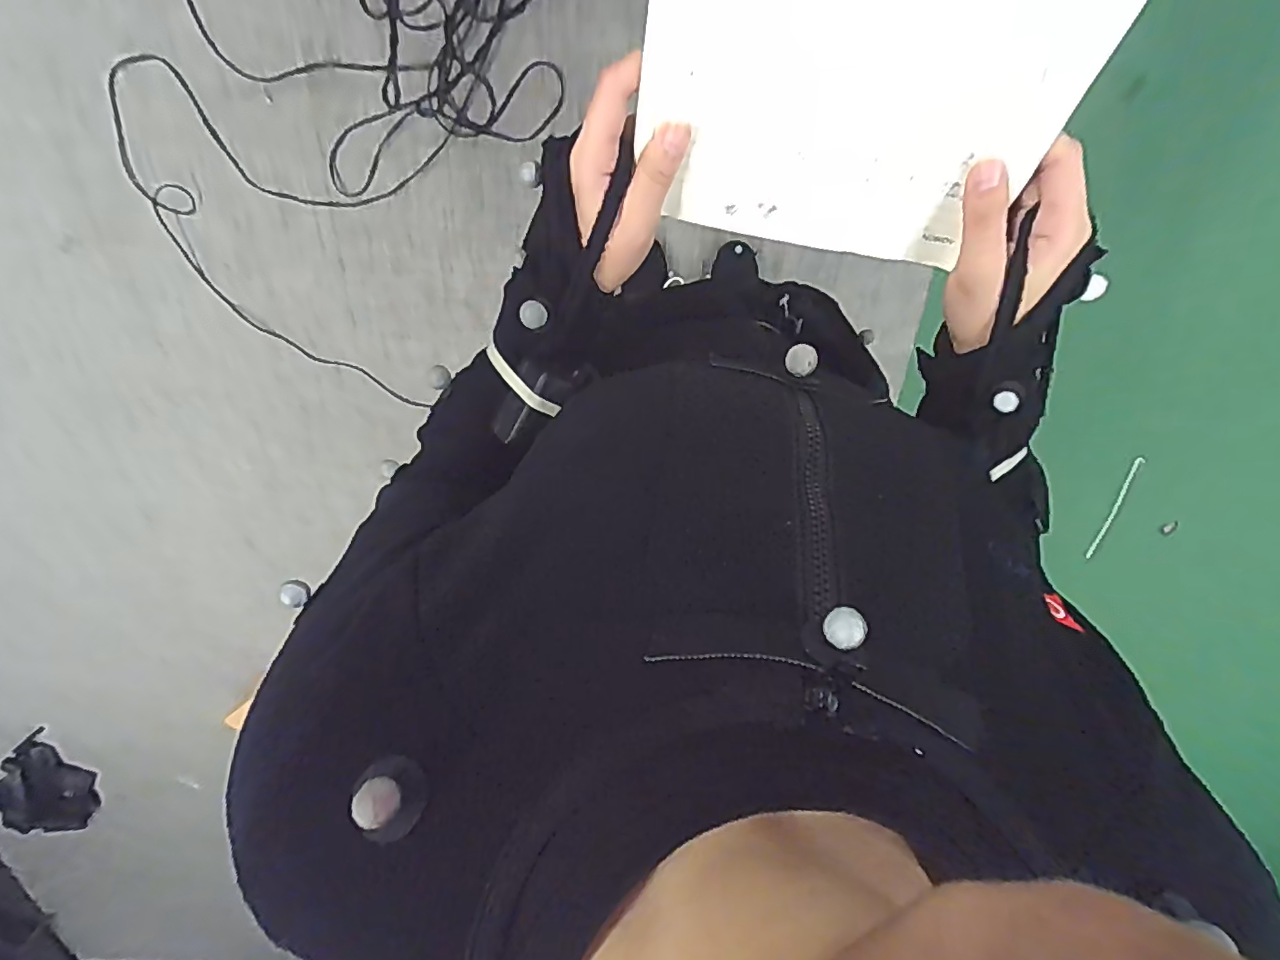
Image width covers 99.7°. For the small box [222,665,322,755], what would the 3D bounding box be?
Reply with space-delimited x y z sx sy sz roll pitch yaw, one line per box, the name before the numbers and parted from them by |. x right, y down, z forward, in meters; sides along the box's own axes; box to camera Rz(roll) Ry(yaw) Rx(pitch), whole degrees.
small box | -1.169 0.735 1.735 0.179 0.176 0.168 -37 111 17
